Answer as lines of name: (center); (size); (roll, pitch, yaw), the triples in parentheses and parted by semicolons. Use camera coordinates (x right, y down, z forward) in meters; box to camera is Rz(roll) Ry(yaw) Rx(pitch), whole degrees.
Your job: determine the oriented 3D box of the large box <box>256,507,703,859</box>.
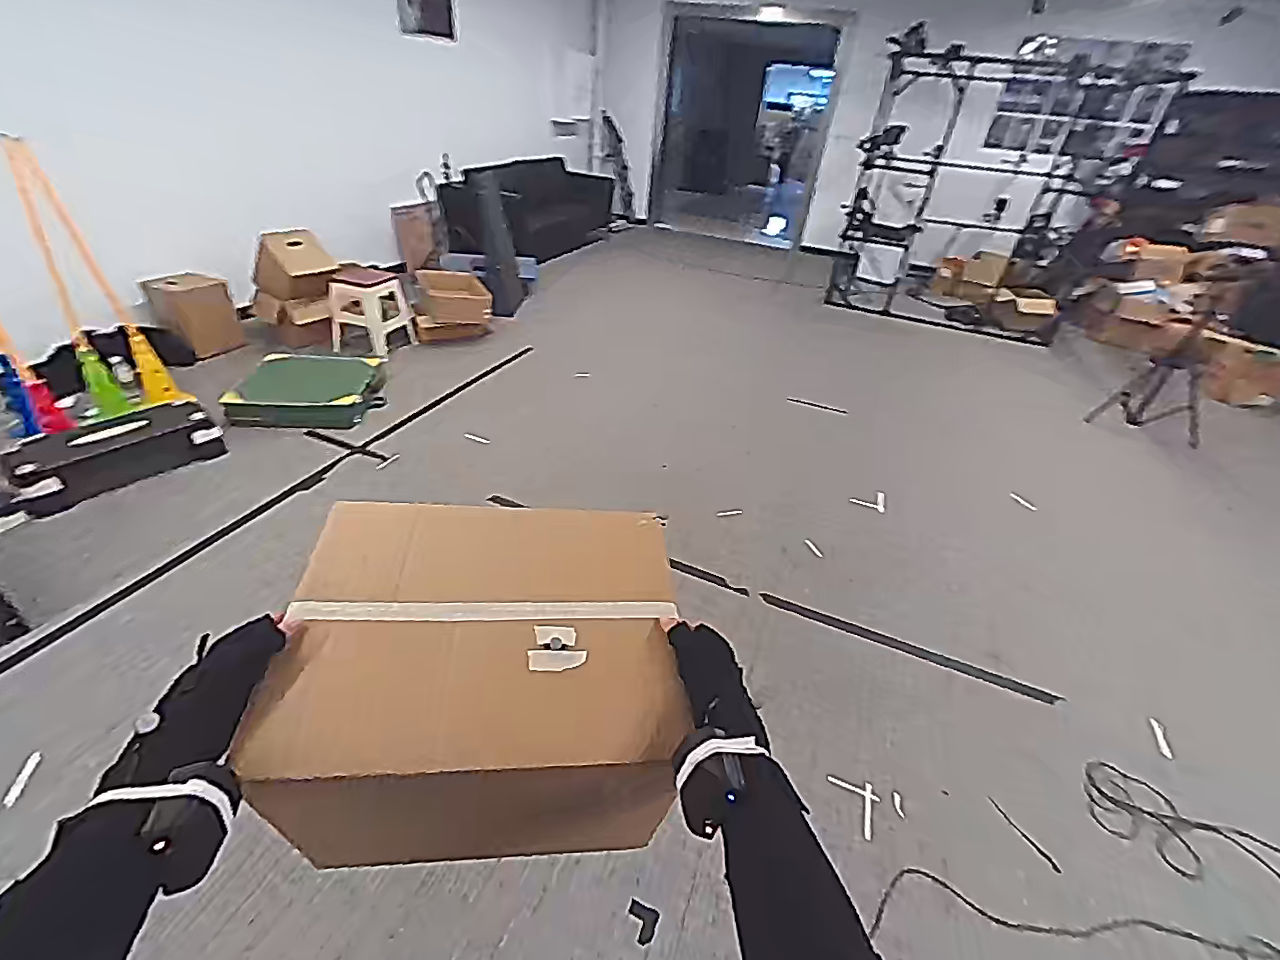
large box: (-0.170, 0.256, 0.695); (0.408, 0.320, 0.320); (4, 44, -10)
